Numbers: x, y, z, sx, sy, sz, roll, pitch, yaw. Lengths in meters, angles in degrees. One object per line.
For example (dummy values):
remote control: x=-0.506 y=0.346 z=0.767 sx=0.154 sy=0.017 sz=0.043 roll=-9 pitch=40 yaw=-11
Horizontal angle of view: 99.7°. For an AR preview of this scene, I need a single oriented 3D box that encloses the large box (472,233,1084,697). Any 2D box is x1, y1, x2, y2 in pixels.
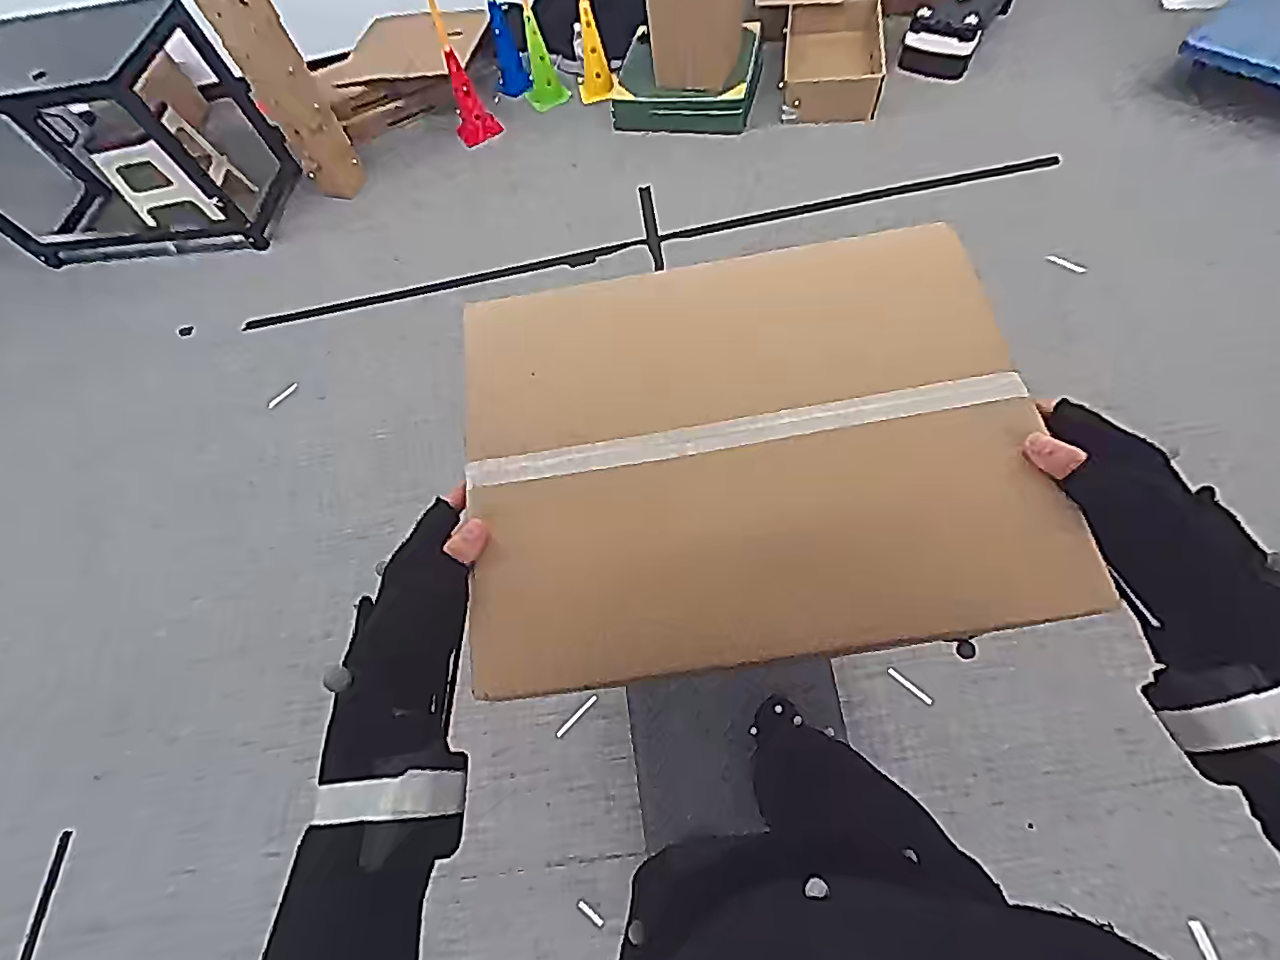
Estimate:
large box: x=0.089 y=0.018 z=0.546 sx=0.408 sy=0.320 sz=0.320 roll=-10 pitch=69 yaw=3
